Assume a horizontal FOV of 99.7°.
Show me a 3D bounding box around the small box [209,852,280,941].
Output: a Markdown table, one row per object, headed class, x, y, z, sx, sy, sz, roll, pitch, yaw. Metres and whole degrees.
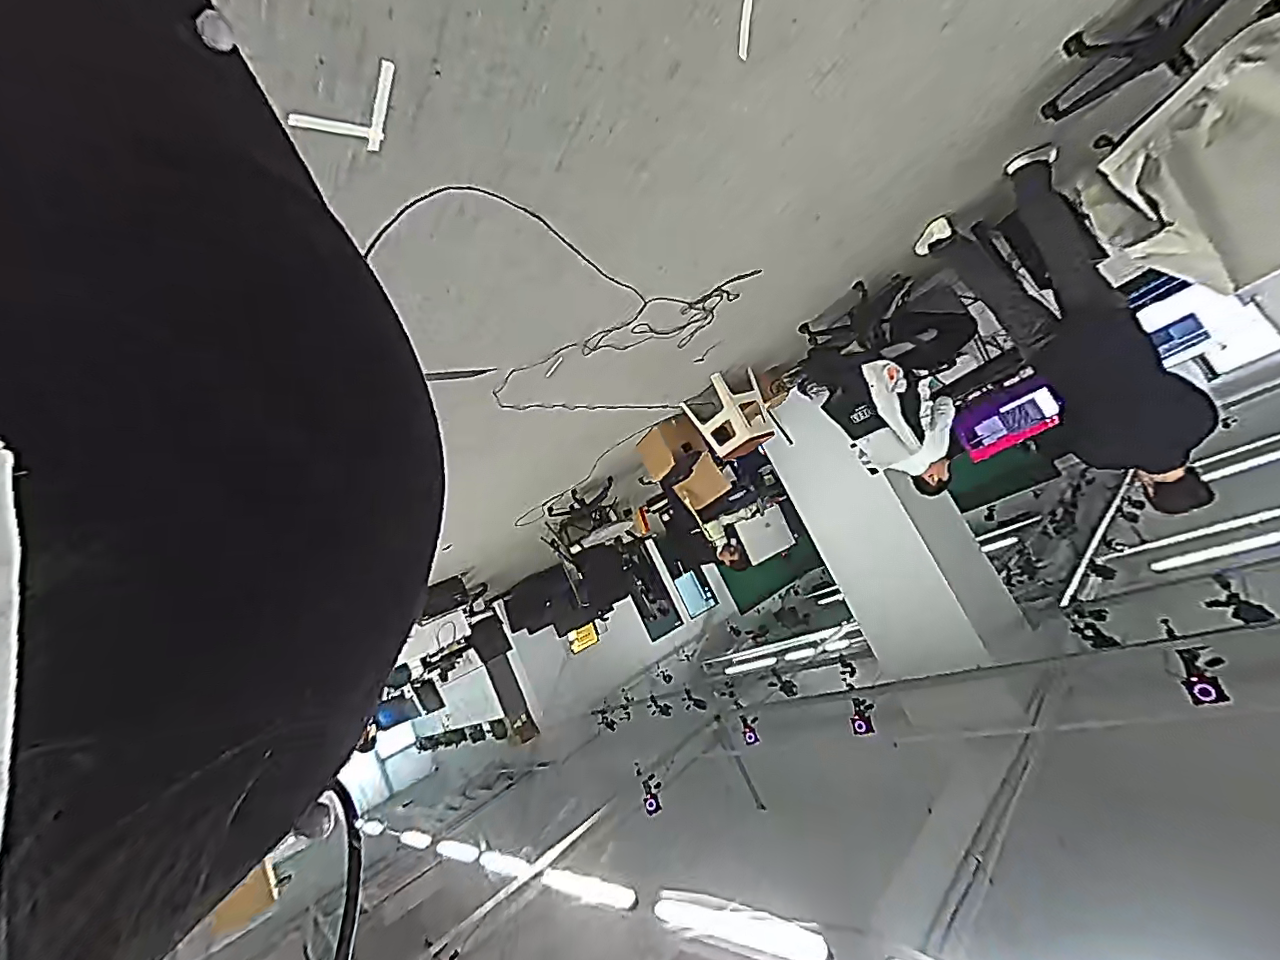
| class | x | y | z | sx | sy | sz | roll | pitch | yaw |
| --- | --- | --- | --- | --- | --- | --- | --- | --- | --- |
| small box | -1.368 | 1.430 | 1.876 | 0.168 | 0.176 | 0.179 | -17 | 169 | -36 |
